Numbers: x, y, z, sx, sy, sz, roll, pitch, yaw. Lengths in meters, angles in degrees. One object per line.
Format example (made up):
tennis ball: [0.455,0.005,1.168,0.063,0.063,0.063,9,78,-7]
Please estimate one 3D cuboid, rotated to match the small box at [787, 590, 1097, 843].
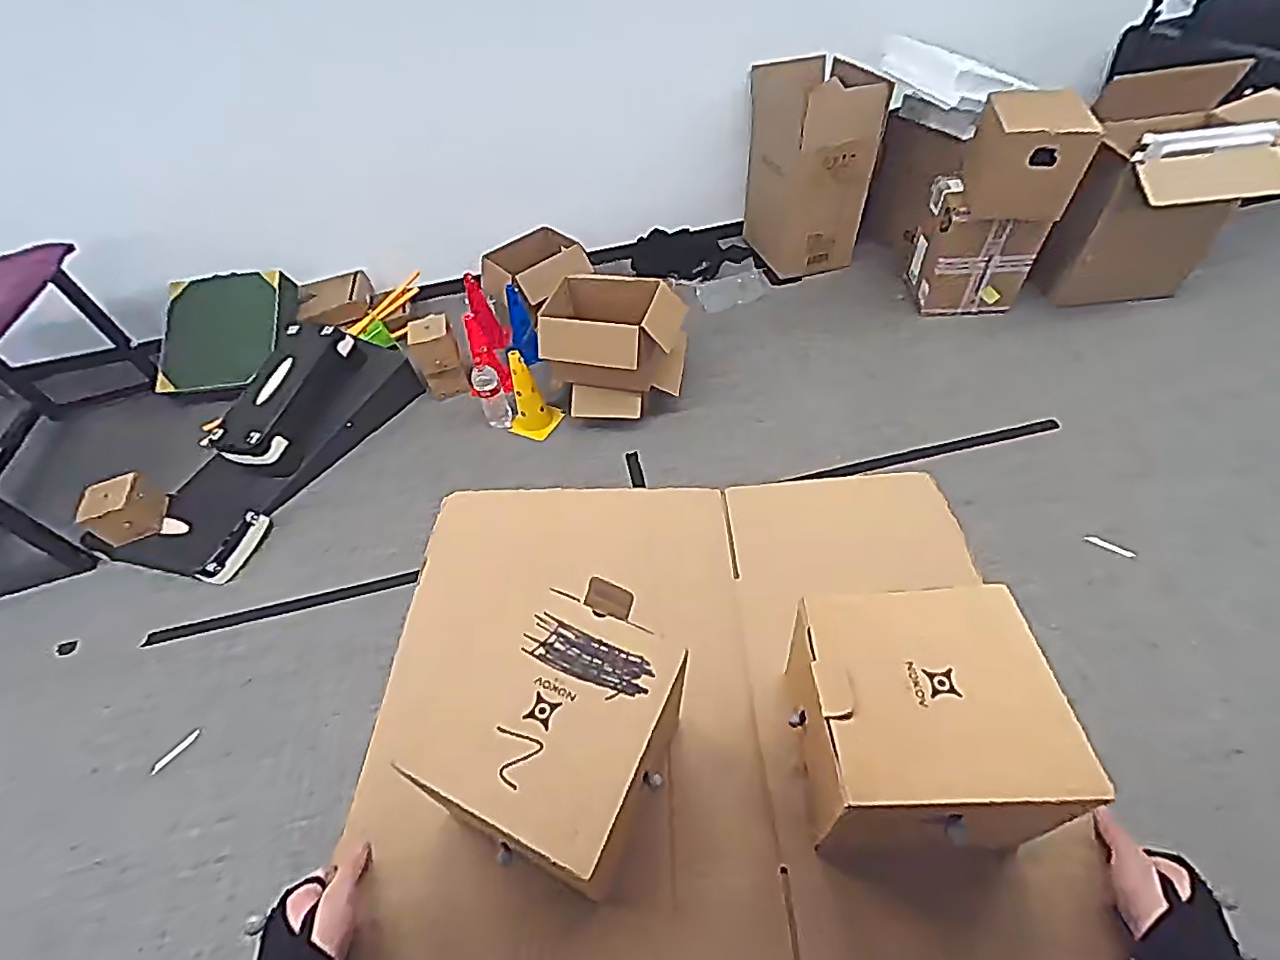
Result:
small box: [0.241,0.217,0.491,0.179,0.176,0.168,-5,47,5]
